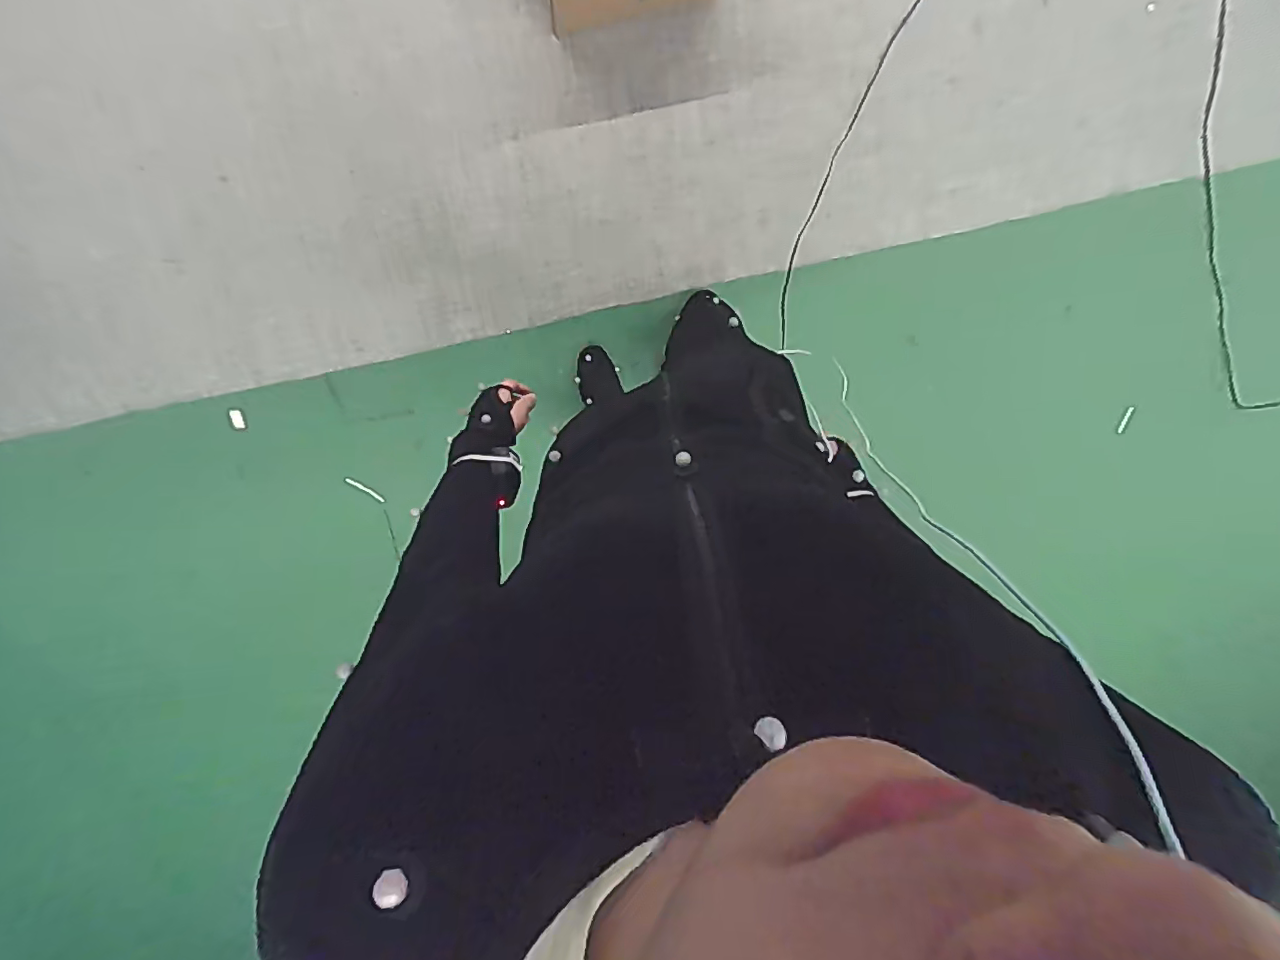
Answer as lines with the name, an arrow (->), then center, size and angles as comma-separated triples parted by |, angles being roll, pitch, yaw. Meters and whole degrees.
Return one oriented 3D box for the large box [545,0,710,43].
large box -> -0.039, -1.224, 1.154 | 0.408, 0.320, 0.320 | -15, 106, 0
